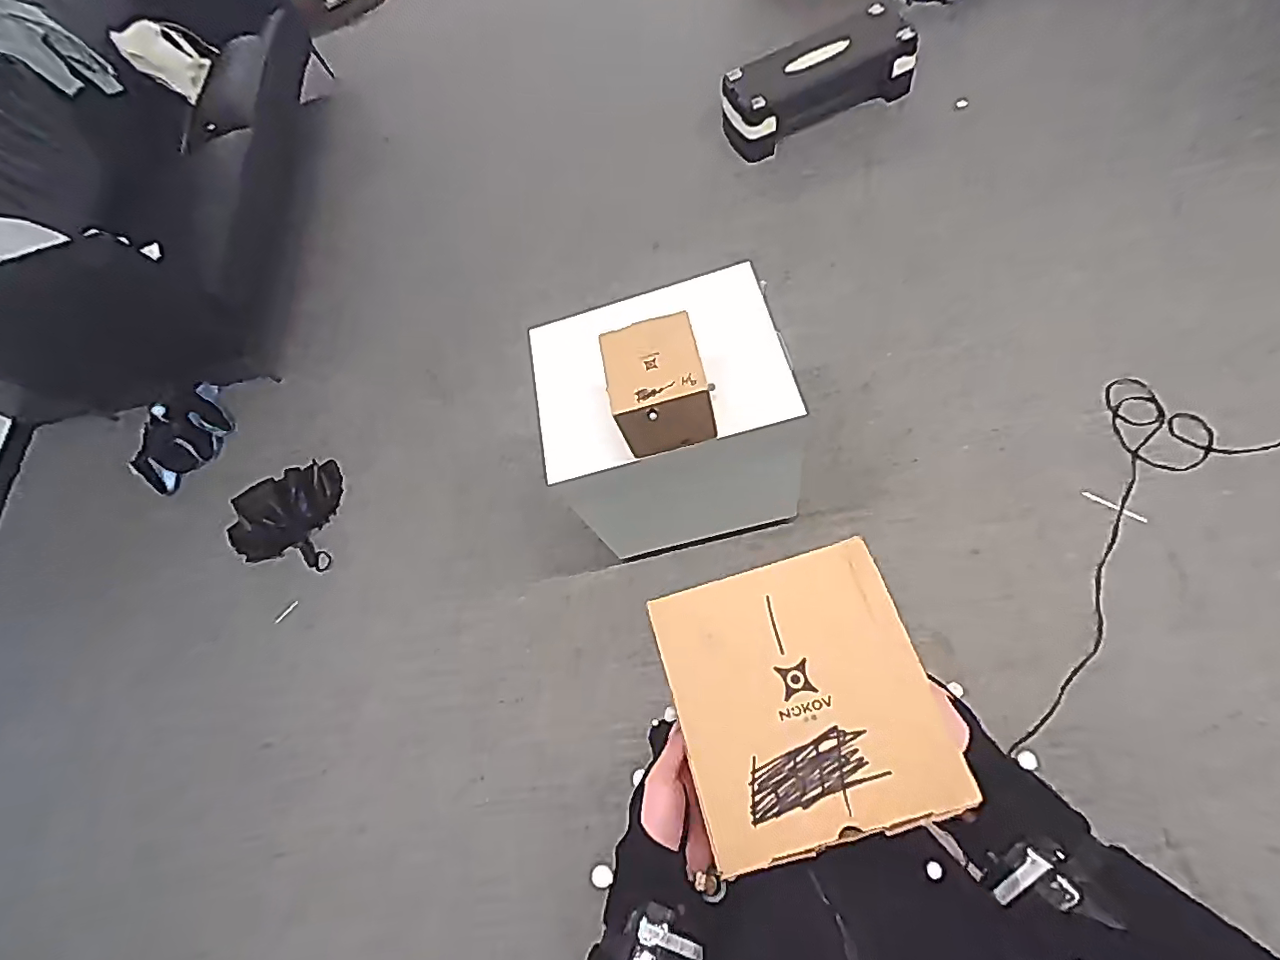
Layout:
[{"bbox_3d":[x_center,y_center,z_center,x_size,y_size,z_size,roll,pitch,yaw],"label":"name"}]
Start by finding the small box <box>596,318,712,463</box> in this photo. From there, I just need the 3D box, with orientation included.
[{"bbox_3d":[0.029,-0.157,0.987,0.168,0.176,0.179,-15,62,7],"label":"small box"}]
